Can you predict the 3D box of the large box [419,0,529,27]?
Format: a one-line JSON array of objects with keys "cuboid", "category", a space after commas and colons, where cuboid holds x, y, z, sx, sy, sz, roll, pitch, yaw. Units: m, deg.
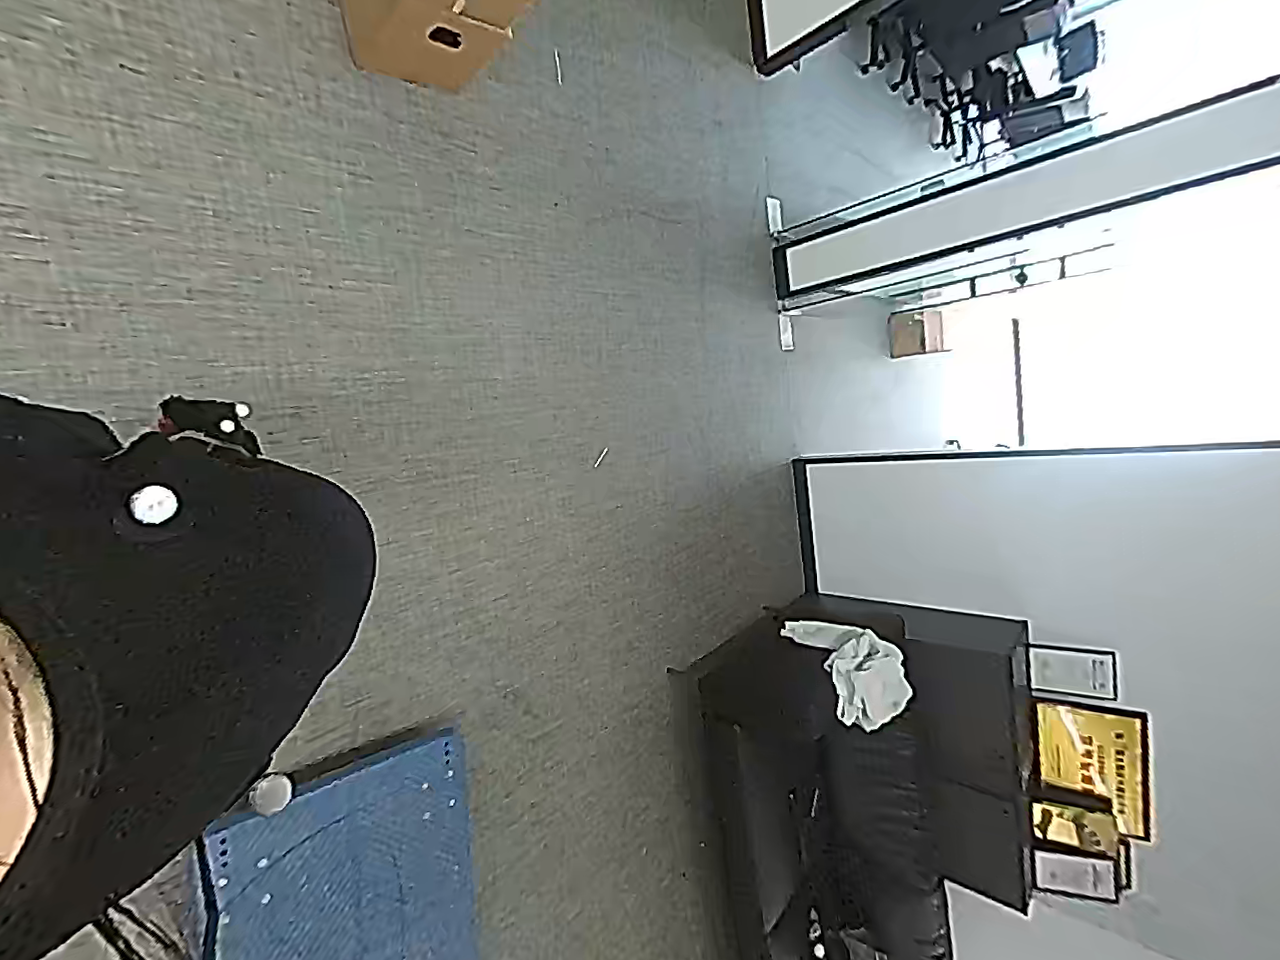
[{"cuboid": [-0.395, -1.340, 1.186, 0.320, 0.320, 0.408, -20, 103, -43], "category": "large box"}]
